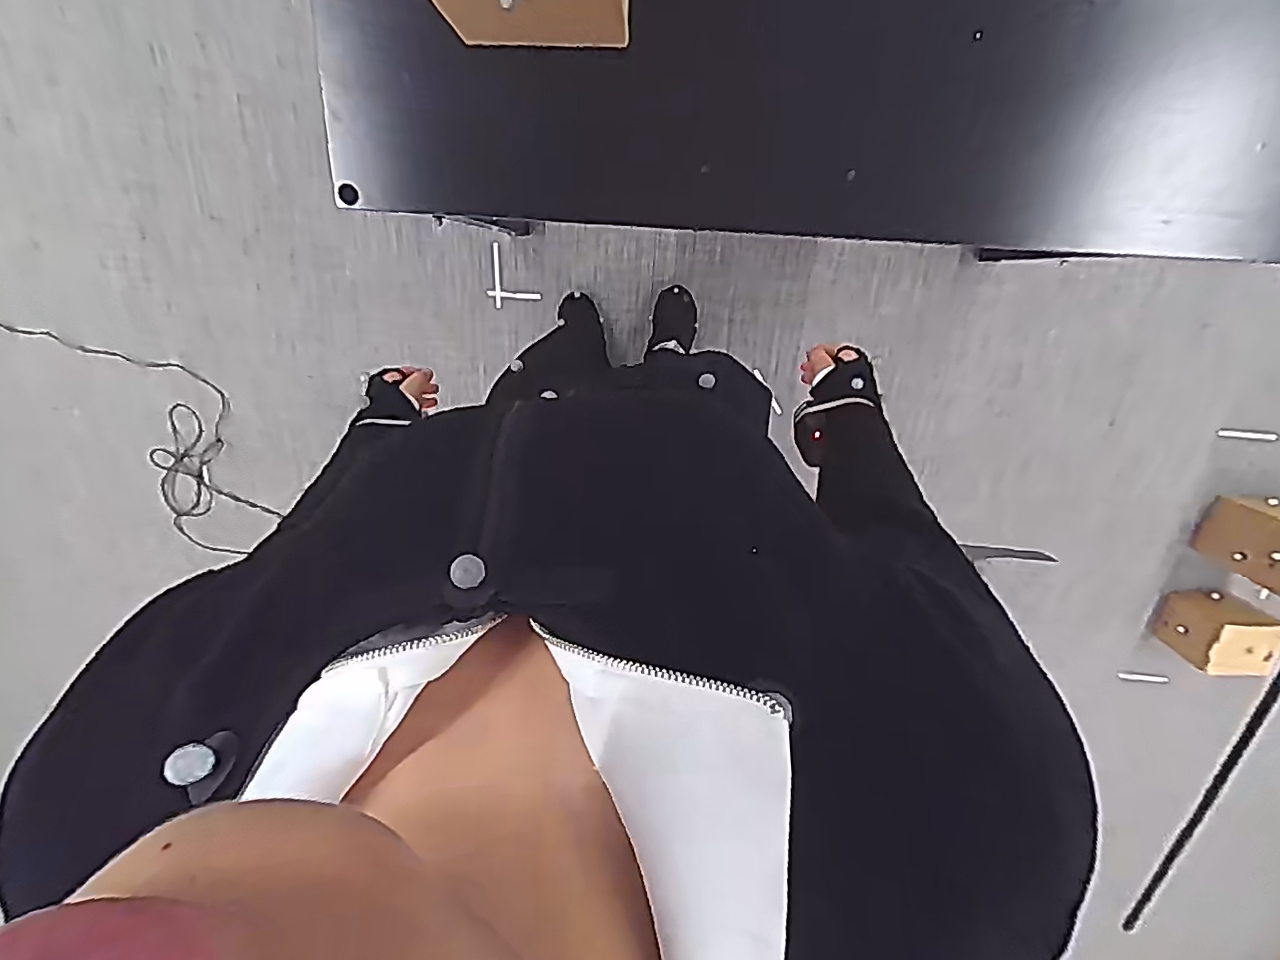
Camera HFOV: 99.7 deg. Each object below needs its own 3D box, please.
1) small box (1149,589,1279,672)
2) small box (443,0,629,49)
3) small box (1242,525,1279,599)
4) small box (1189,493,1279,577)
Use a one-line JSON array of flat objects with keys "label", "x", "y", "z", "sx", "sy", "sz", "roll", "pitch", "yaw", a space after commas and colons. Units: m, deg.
[{"label": "small box", "x": 1.648, "y": 0.429, "z": 1.565, "sx": 0.179, "sy": 0.176, "sz": 0.168, "roll": 2, "pitch": 111, "yaw": 2}, {"label": "small box", "x": -0.100, "y": -0.516, "z": 0.483, "sx": 0.179, "sy": 0.176, "sz": 0.168, "roll": 2, "pitch": 111, "yaw": 0}, {"label": "small box", "x": 1.654, "y": 0.218, "z": 1.306, "sx": 0.179, "sy": 0.176, "sz": 0.168, "roll": 5, "pitch": 110, "yaw": 1}, {"label": "small box", "x": 1.655, "y": 0.152, "z": 1.455, "sx": 0.168, "sy": 0.176, "sz": 0.179, "roll": 6, "pitch": 111, "yaw": 0}]
